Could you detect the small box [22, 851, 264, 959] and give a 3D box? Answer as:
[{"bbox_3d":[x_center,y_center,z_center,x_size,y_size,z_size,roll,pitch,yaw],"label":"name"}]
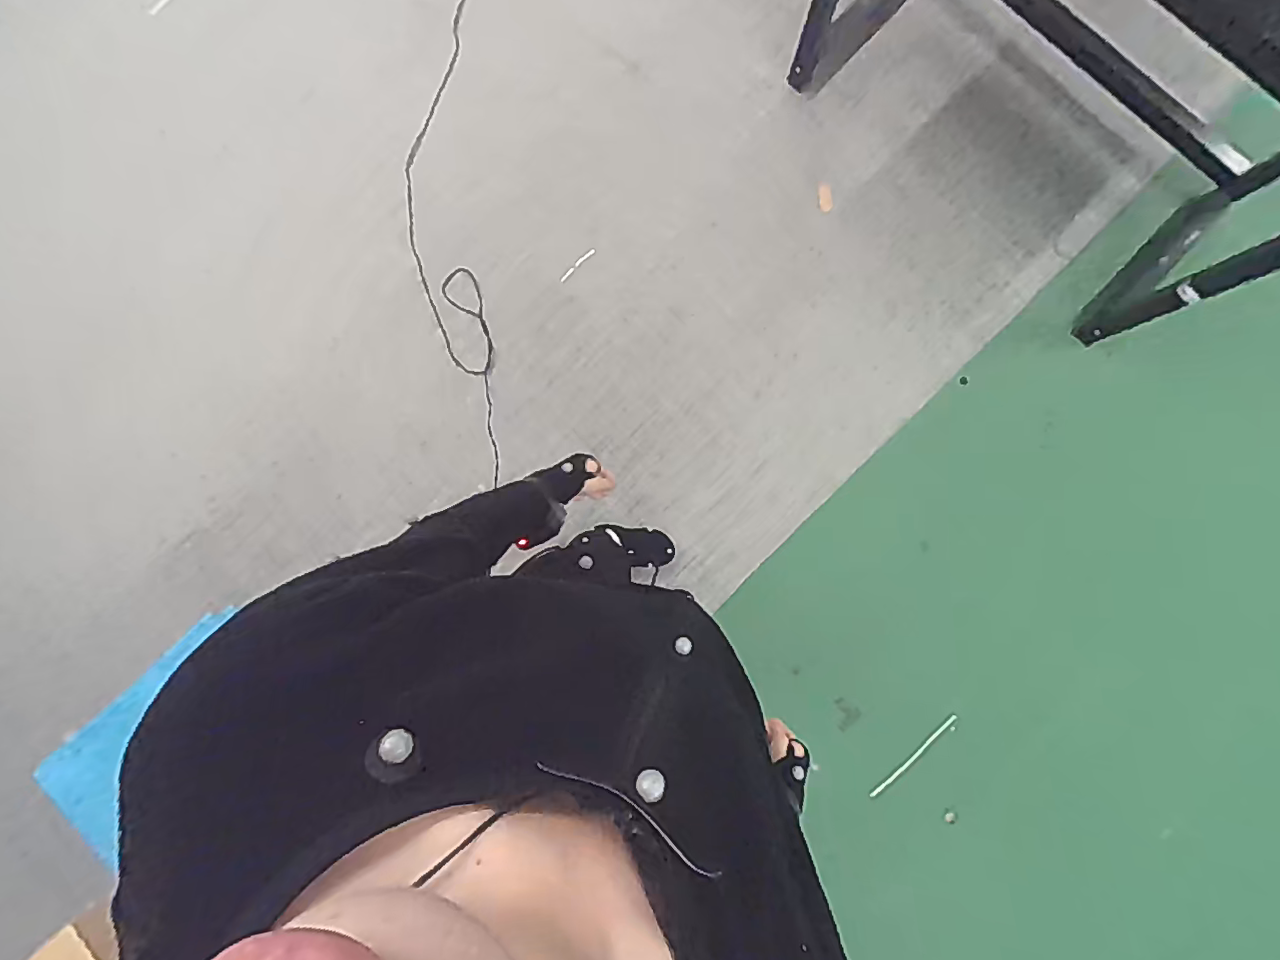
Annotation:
[{"bbox_3d":[-0.617,0.595,0.650,0.168,0.176,0.179,-43,87,-1],"label":"small box"}]
